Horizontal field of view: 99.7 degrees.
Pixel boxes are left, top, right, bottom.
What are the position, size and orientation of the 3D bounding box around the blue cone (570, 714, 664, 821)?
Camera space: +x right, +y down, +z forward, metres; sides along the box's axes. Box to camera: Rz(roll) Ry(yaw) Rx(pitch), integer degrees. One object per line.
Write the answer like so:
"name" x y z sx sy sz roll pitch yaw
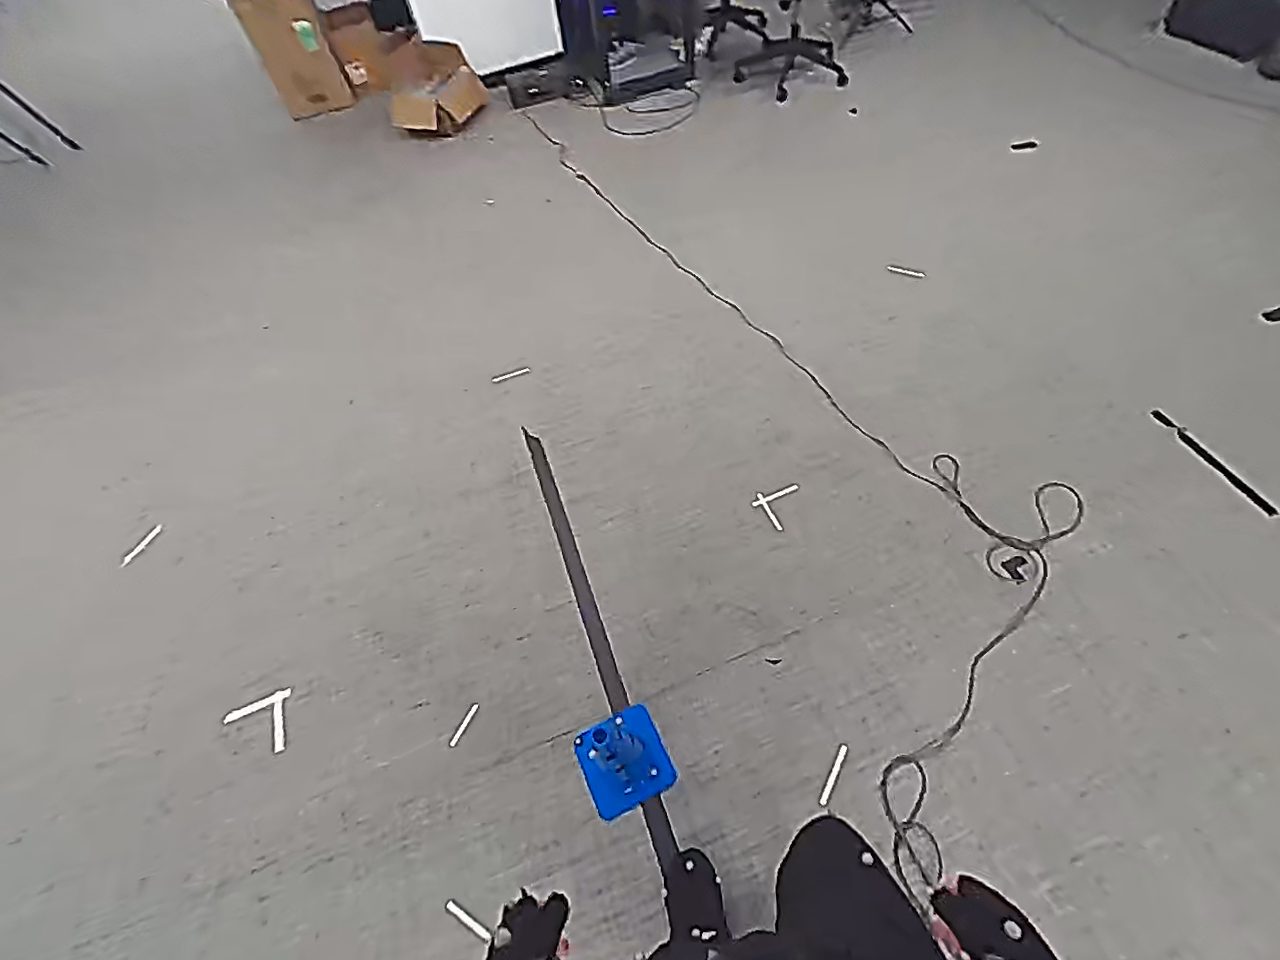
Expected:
"blue cone" -0.071 0.588 1.154 0.192 0.380 0.193 -24 57 -8
